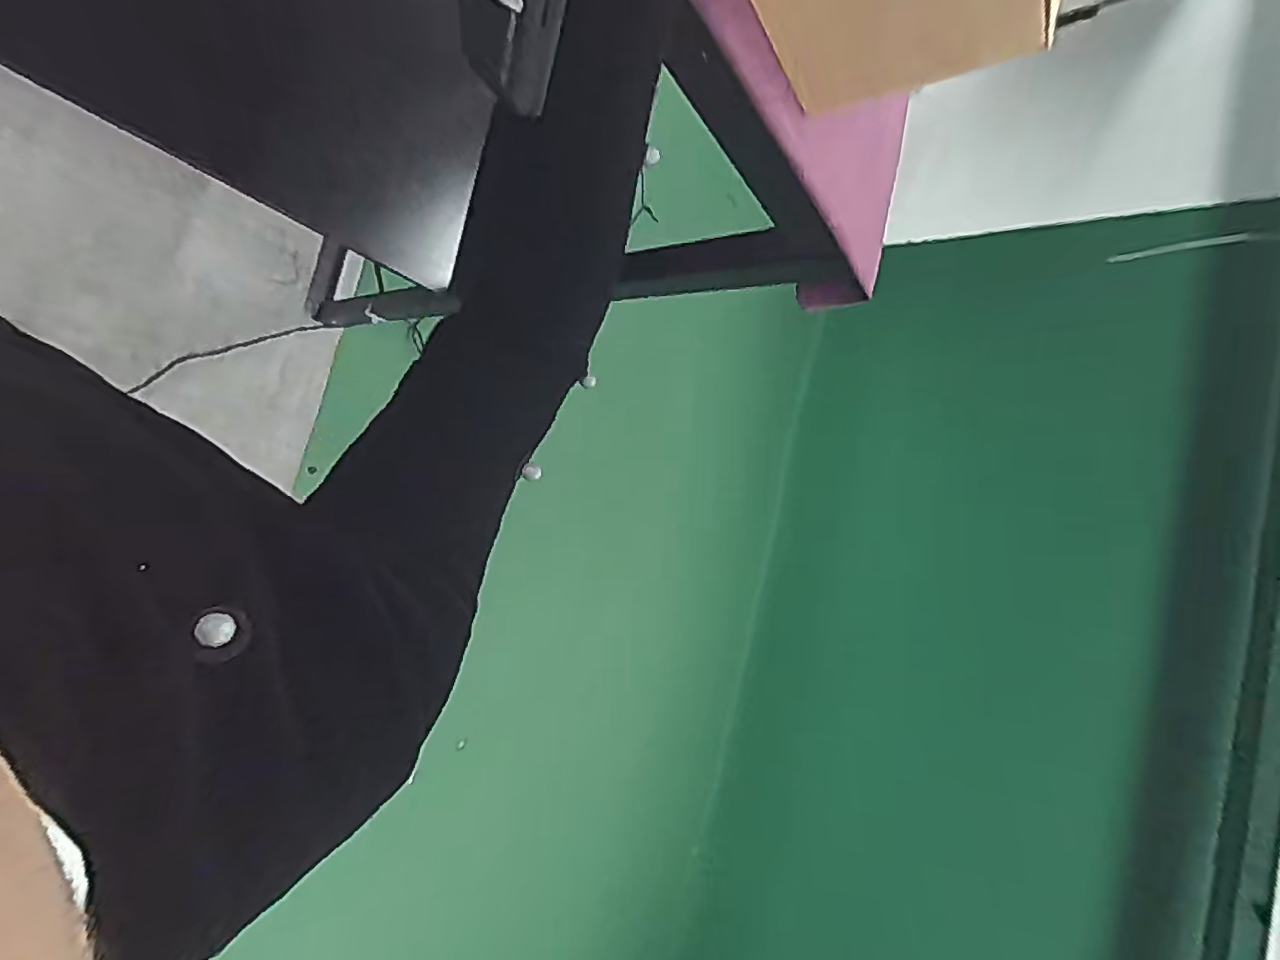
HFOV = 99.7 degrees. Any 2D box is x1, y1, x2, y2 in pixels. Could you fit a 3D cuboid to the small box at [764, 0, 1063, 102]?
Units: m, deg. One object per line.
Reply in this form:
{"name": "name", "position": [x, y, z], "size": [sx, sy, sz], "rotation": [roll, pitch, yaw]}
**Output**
{"name": "small box", "position": [0.173, -0.392, 0.346], "size": [0.179, 0.176, 0.168], "rotation": [18, 84, -50]}
